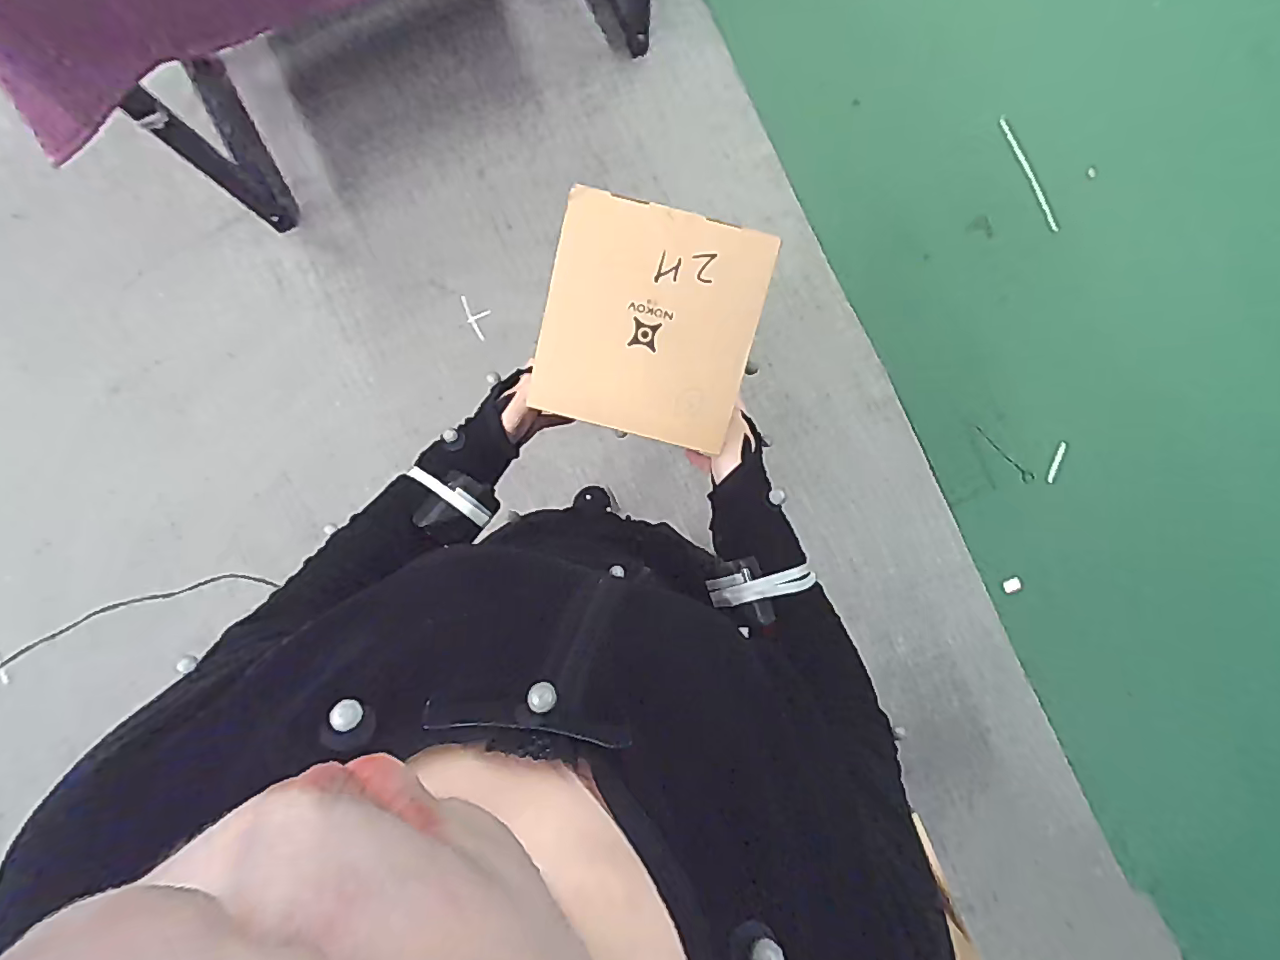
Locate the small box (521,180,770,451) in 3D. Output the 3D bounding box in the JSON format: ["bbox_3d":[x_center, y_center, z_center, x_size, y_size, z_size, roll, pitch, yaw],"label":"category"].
[{"bbox_3d":[0.006,-0.139,0.502,0.168,0.176,0.179,15,100,0],"label":"small box"}]

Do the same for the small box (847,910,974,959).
[{"bbox_3d":[0.409,0.762,0.751,0.179,0.176,0.168,-24,88,-2],"label":"small box"}]
